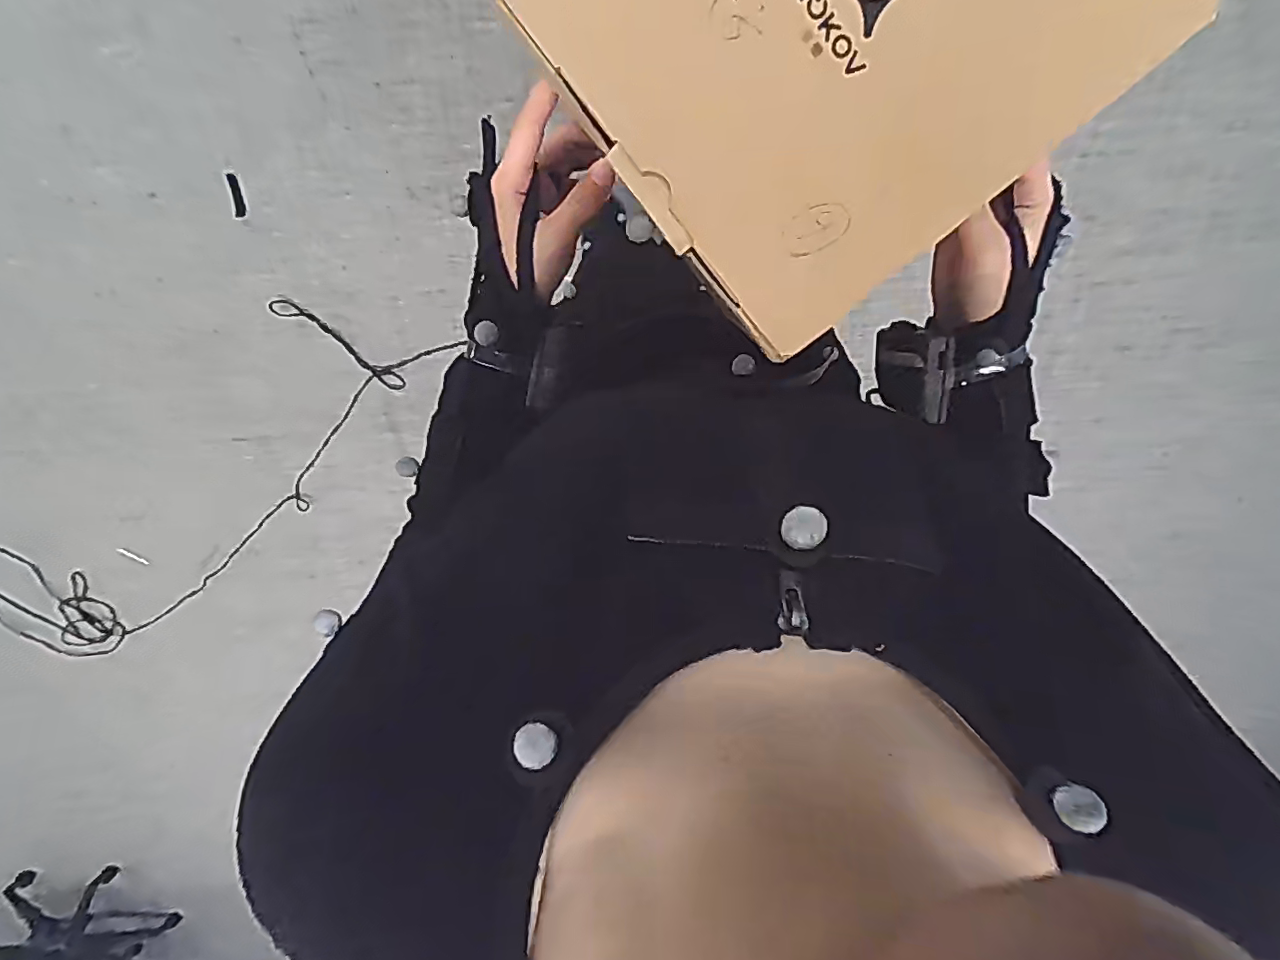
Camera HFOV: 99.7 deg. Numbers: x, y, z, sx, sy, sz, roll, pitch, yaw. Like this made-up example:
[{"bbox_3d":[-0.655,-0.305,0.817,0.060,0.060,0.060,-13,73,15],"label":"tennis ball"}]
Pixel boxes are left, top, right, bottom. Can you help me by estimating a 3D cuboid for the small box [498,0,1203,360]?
[{"bbox_3d":[0.071,-0.185,0.254,0.179,0.176,0.168,-38,105,17],"label":"small box"}]
